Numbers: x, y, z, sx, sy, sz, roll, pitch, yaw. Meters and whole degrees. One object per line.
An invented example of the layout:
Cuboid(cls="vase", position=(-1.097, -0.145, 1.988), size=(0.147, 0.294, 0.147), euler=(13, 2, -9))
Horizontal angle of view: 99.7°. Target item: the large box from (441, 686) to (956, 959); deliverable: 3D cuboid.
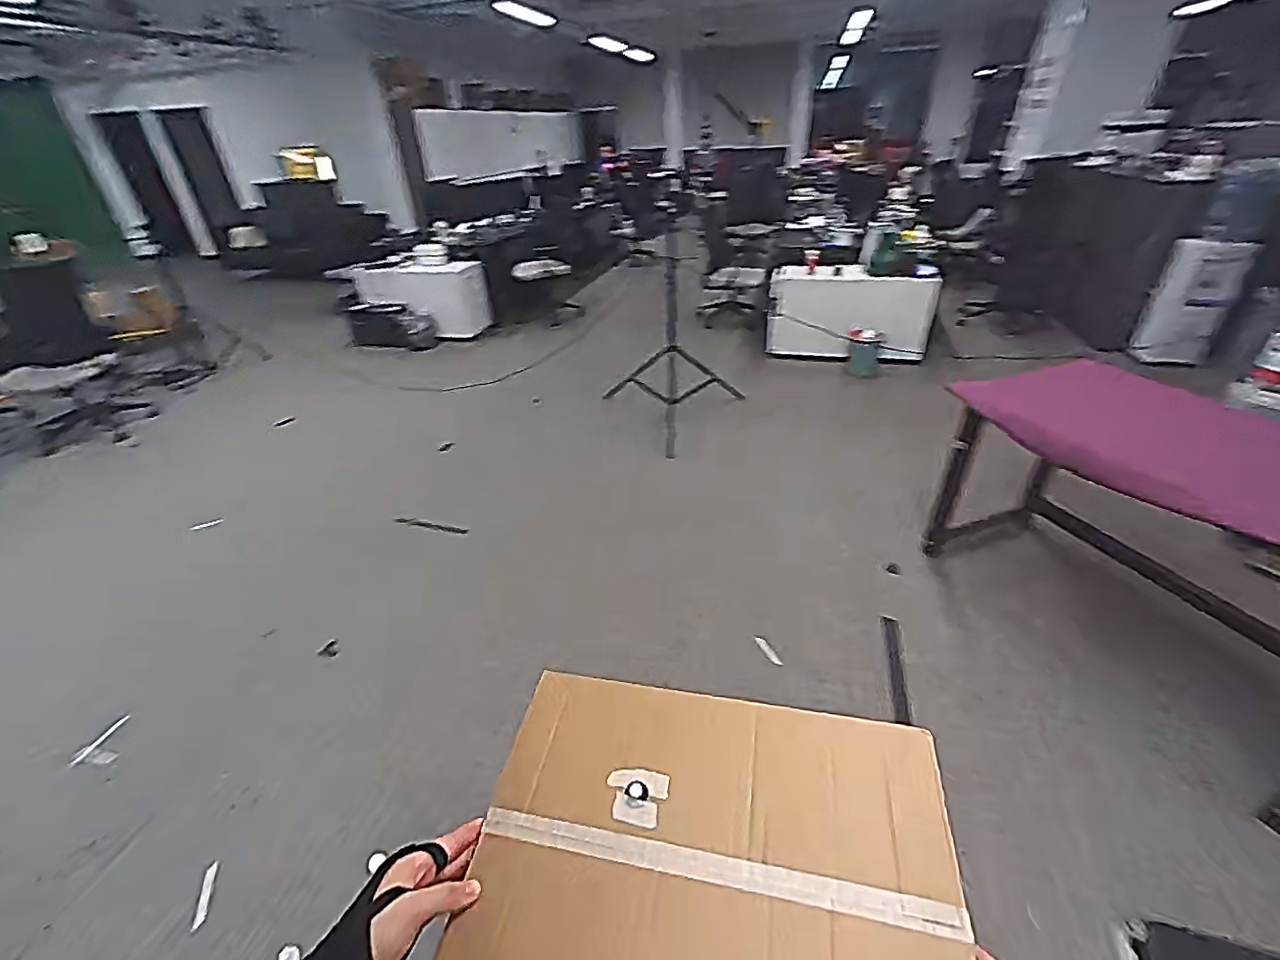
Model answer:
Cuboid(cls="large box", position=(0.067, 0.451, 0.559), size=(0.408, 0.320, 0.320), euler=(2, 38, 13))
